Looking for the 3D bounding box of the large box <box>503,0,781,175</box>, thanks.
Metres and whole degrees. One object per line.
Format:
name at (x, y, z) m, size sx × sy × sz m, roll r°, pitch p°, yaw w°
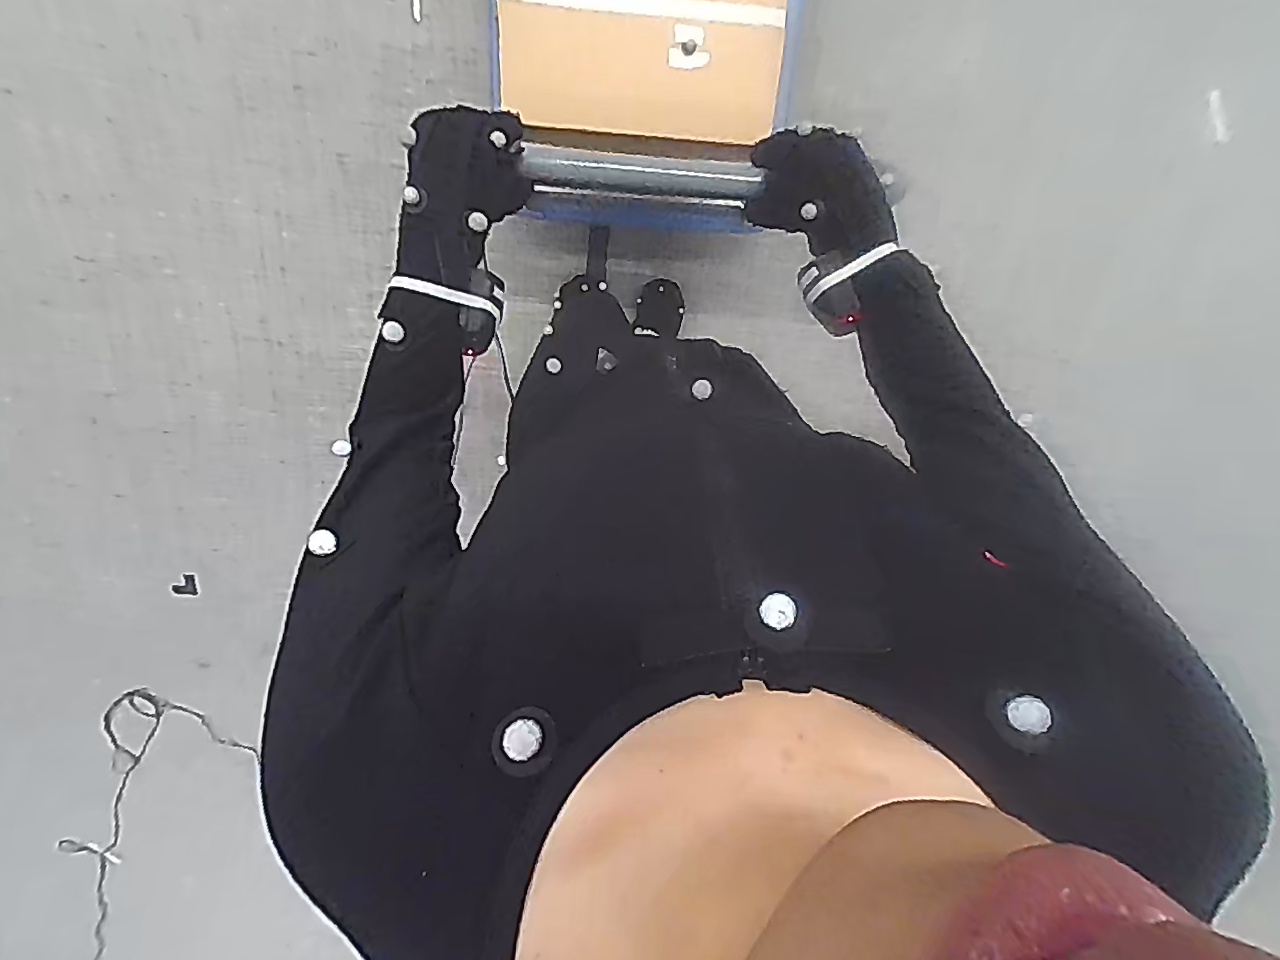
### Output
large box at (-0.007, -0.724, 0.910) m, size 0.408 × 0.320 × 0.320 m, roll 2°, pitch 111°, yaw -5°
